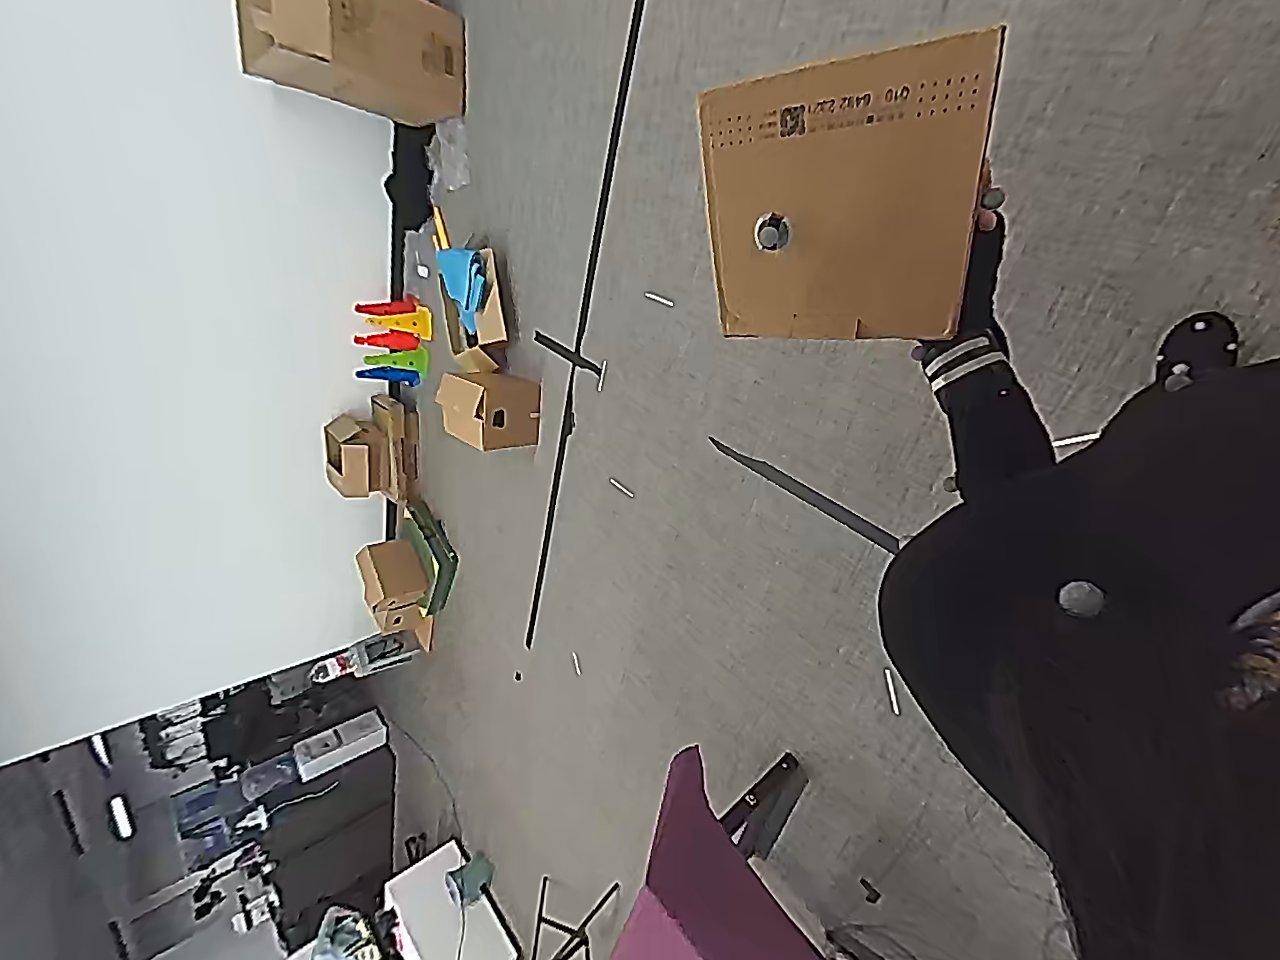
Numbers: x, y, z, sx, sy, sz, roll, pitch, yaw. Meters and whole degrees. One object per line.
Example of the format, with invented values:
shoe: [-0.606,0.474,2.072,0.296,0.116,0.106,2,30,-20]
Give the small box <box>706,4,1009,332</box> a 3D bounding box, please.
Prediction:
small box: [0.159,-0.224,0.402,0.168,0.179,0.176,9,132,28]
